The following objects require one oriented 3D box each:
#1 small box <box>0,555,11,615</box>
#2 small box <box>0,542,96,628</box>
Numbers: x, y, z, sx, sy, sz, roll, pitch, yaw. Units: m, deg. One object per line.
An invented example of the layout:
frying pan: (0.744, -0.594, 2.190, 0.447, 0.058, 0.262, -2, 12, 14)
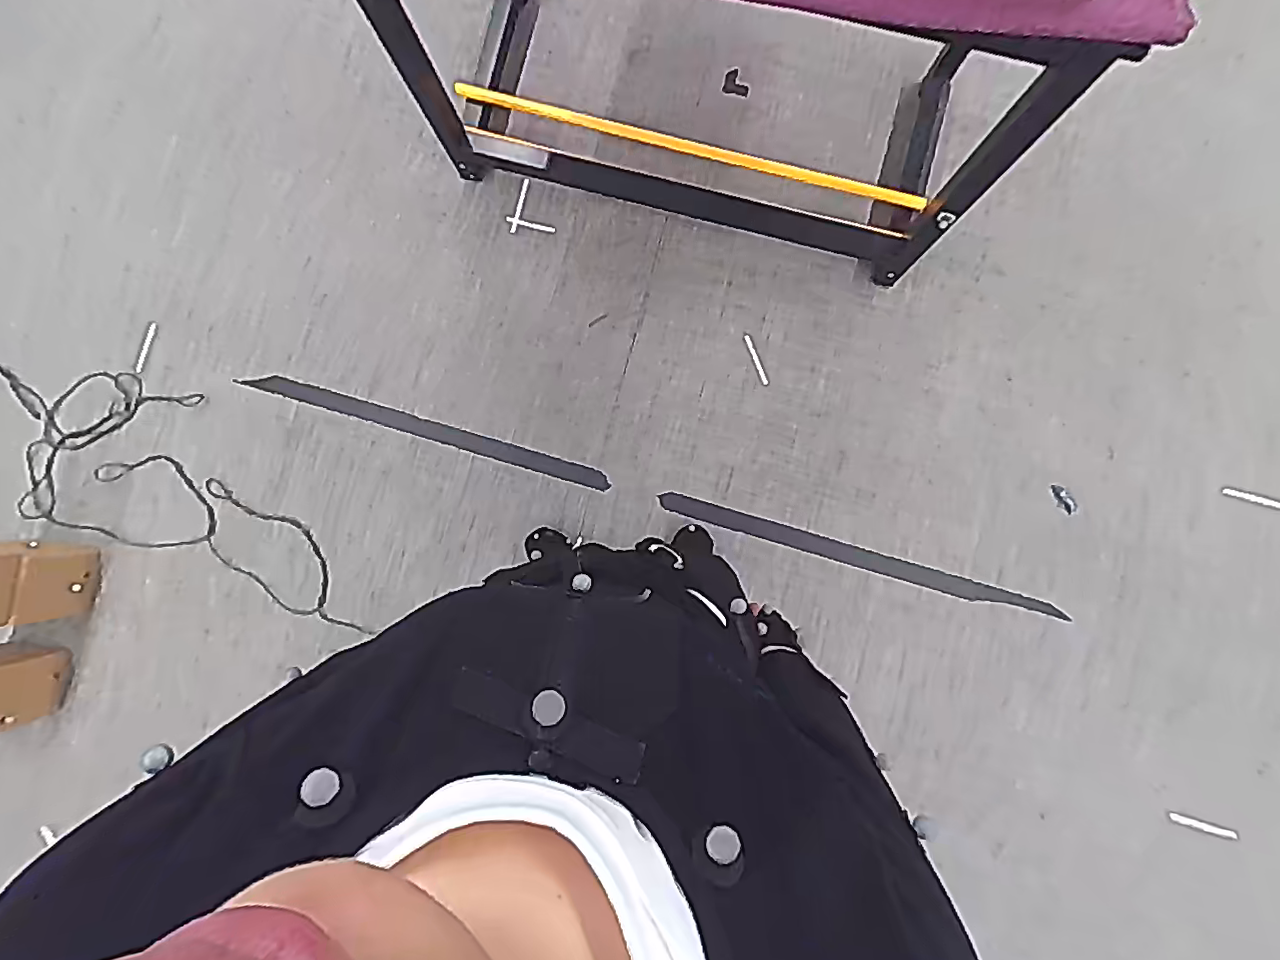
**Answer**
small box: (-1.536, 0.238, 1.165, 0.168, 0.176, 0.179, 9, 88, 3)
small box: (-1.521, 0.249, 1.329, 0.179, 0.176, 0.168, 11, 88, 2)
